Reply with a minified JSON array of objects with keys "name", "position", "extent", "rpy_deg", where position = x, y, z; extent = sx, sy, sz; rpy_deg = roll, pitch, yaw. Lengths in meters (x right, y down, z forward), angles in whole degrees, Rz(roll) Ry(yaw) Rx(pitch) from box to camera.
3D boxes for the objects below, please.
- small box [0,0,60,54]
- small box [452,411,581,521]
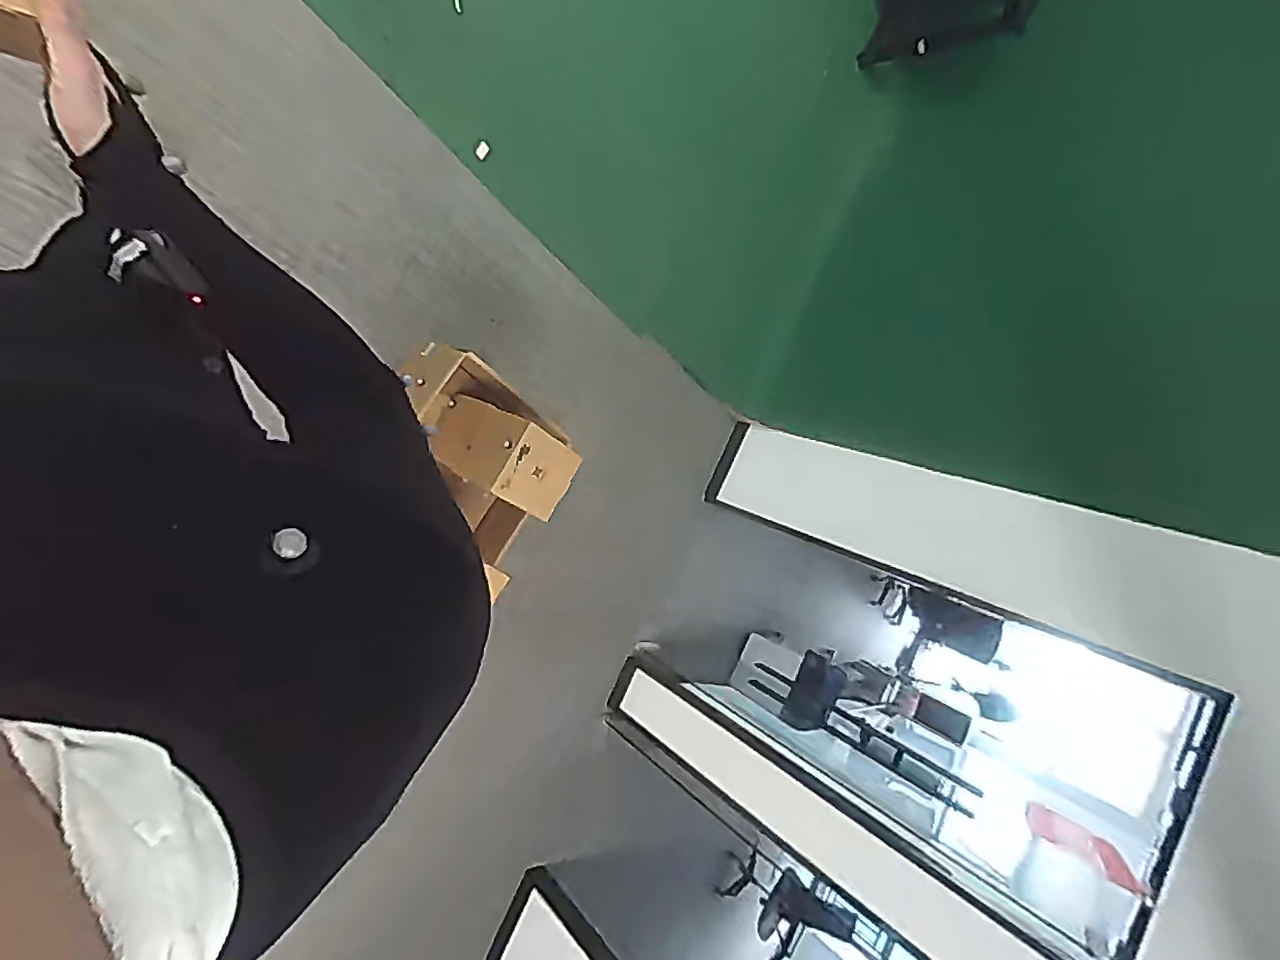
[{"name":"small box","position":[-0.503,-0.415,0.342],"extent":[0.168,0.176,0.179],"rpy_deg":[-10,117,-45]},{"name":"small box","position":[-0.272,-0.036,1.190],"extent":[0.179,0.176,0.168],"rpy_deg":[38,76,-49]}]
